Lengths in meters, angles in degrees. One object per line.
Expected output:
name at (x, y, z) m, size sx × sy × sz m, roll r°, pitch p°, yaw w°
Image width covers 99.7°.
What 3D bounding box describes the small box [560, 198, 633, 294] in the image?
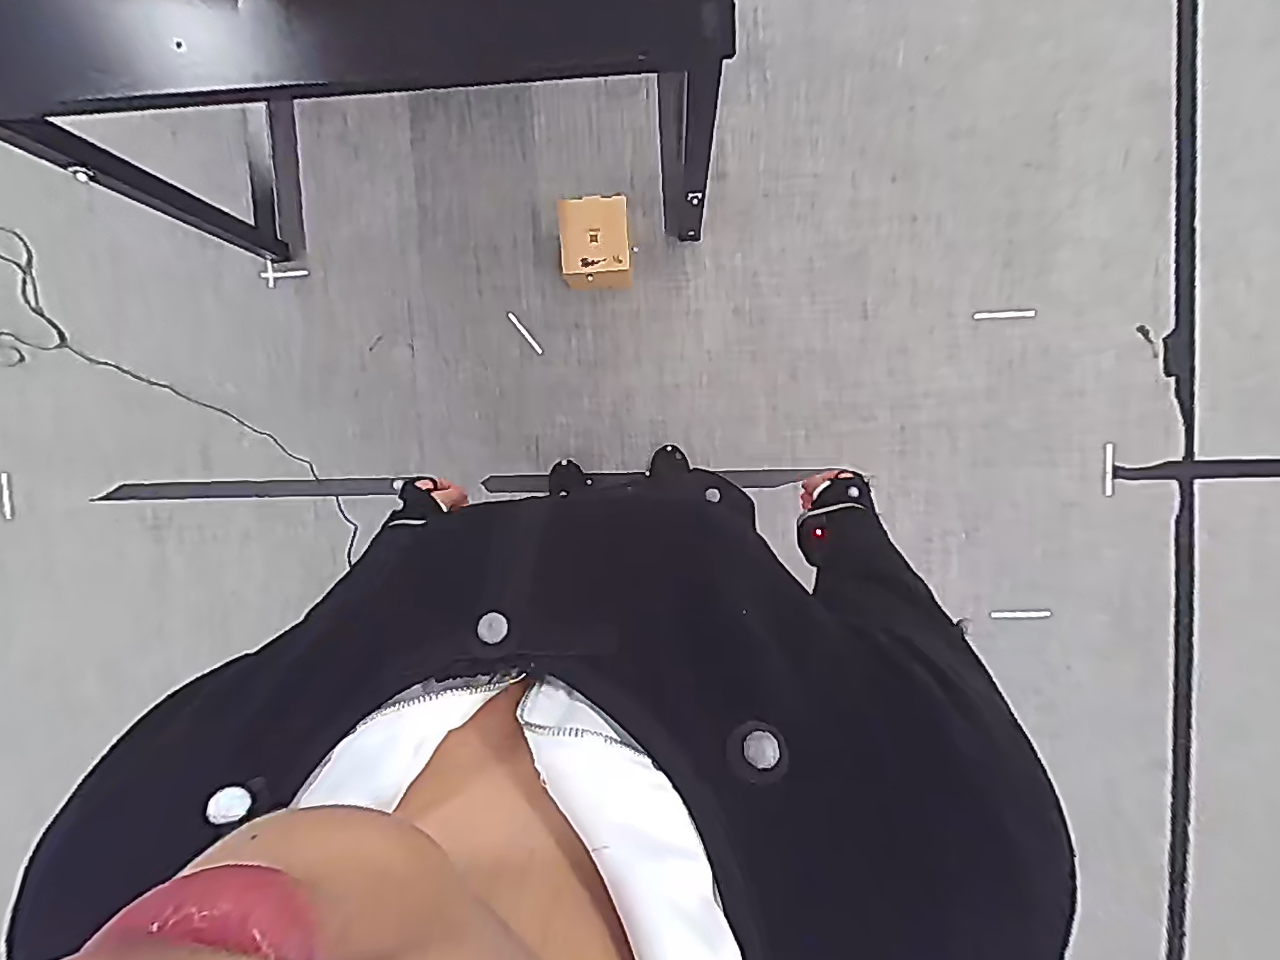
small box at (-0.106, -0.590, 1.379) m, size 0.168 × 0.176 × 0.179 m, roll -3°, pitch 93°, yaw 4°
